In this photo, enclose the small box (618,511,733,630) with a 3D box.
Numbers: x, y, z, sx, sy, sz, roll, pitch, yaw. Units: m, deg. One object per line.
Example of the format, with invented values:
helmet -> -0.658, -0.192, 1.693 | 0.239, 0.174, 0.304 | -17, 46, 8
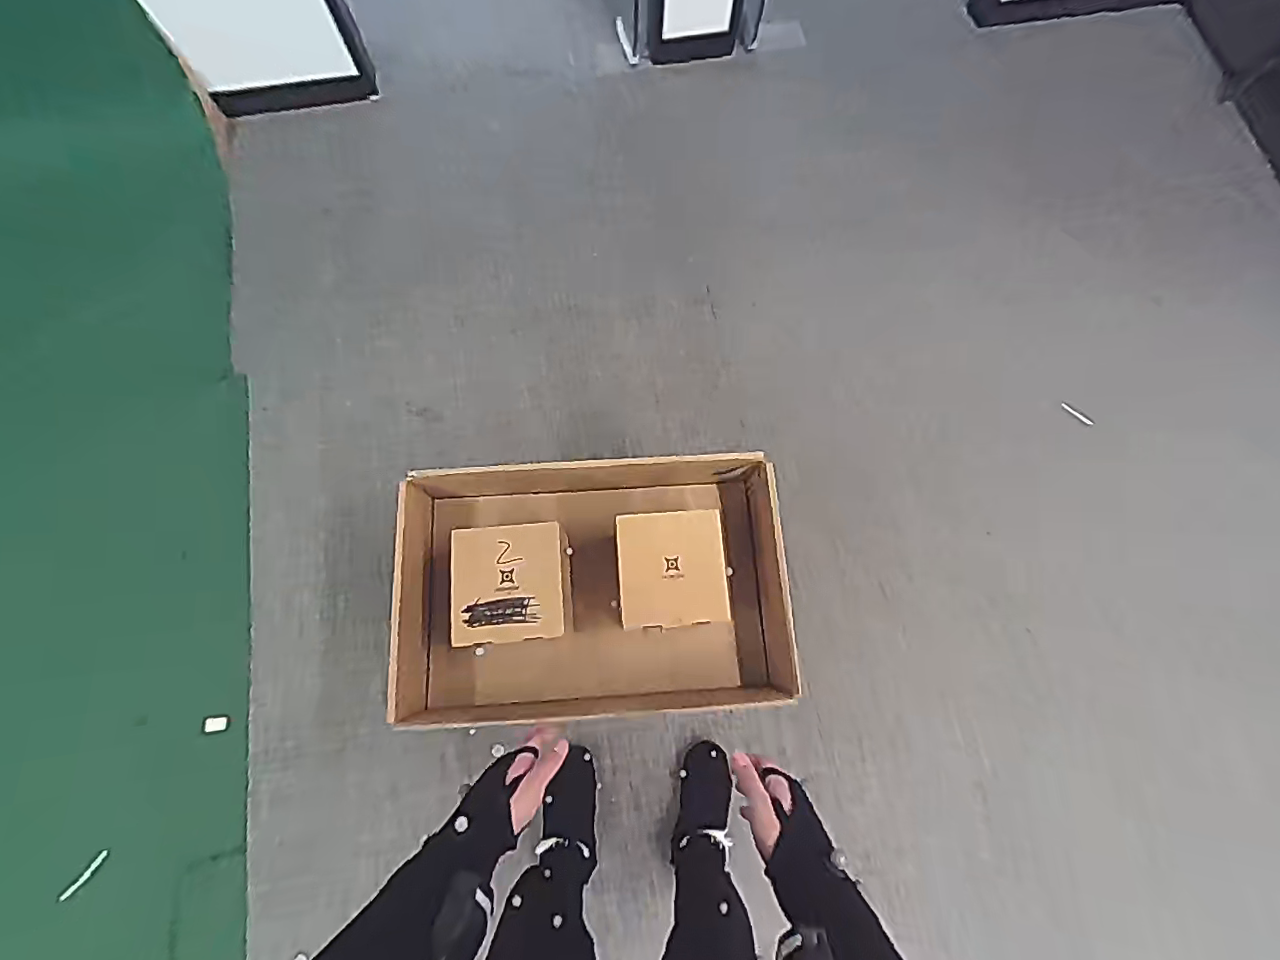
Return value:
small box -> 0.050, 0.153, 0.897 | 0.168, 0.176, 0.179 | -3, 78, -3
